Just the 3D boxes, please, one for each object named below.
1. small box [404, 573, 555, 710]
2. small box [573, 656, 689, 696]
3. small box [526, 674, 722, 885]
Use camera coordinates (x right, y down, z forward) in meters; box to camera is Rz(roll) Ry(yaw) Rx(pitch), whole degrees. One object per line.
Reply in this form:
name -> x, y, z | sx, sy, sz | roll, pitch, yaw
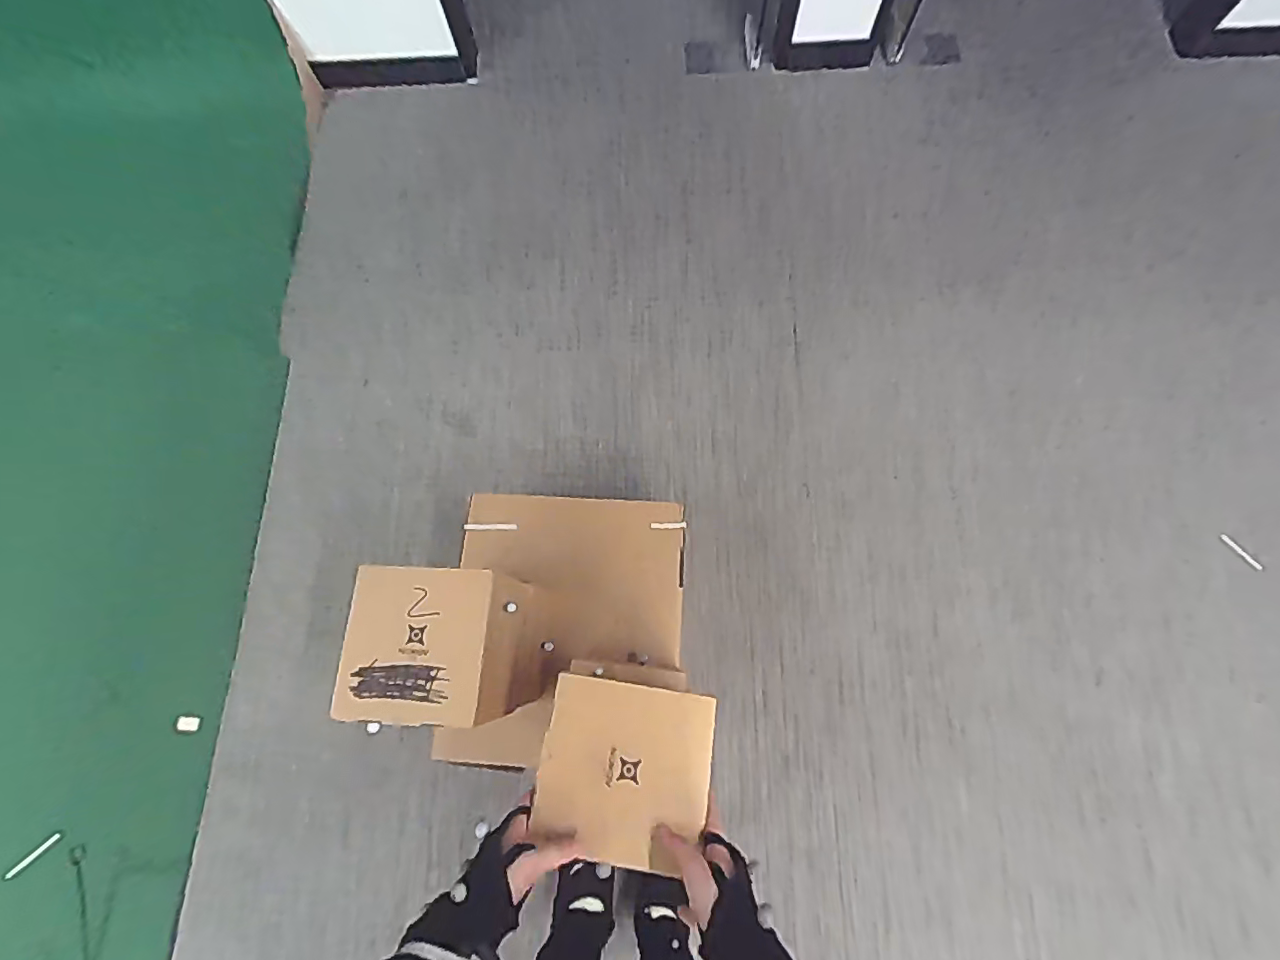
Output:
small box -> -0.237, 0.253, 0.852 | 0.168, 0.176, 0.179 | 5, 72, 5
small box -> -0.020, 0.366, 0.810 | 0.168, 0.176, 0.179 | 6, 73, 2
small box -> -0.010, 0.327, 0.615 | 0.179, 0.176, 0.168 | 7, 65, 6
